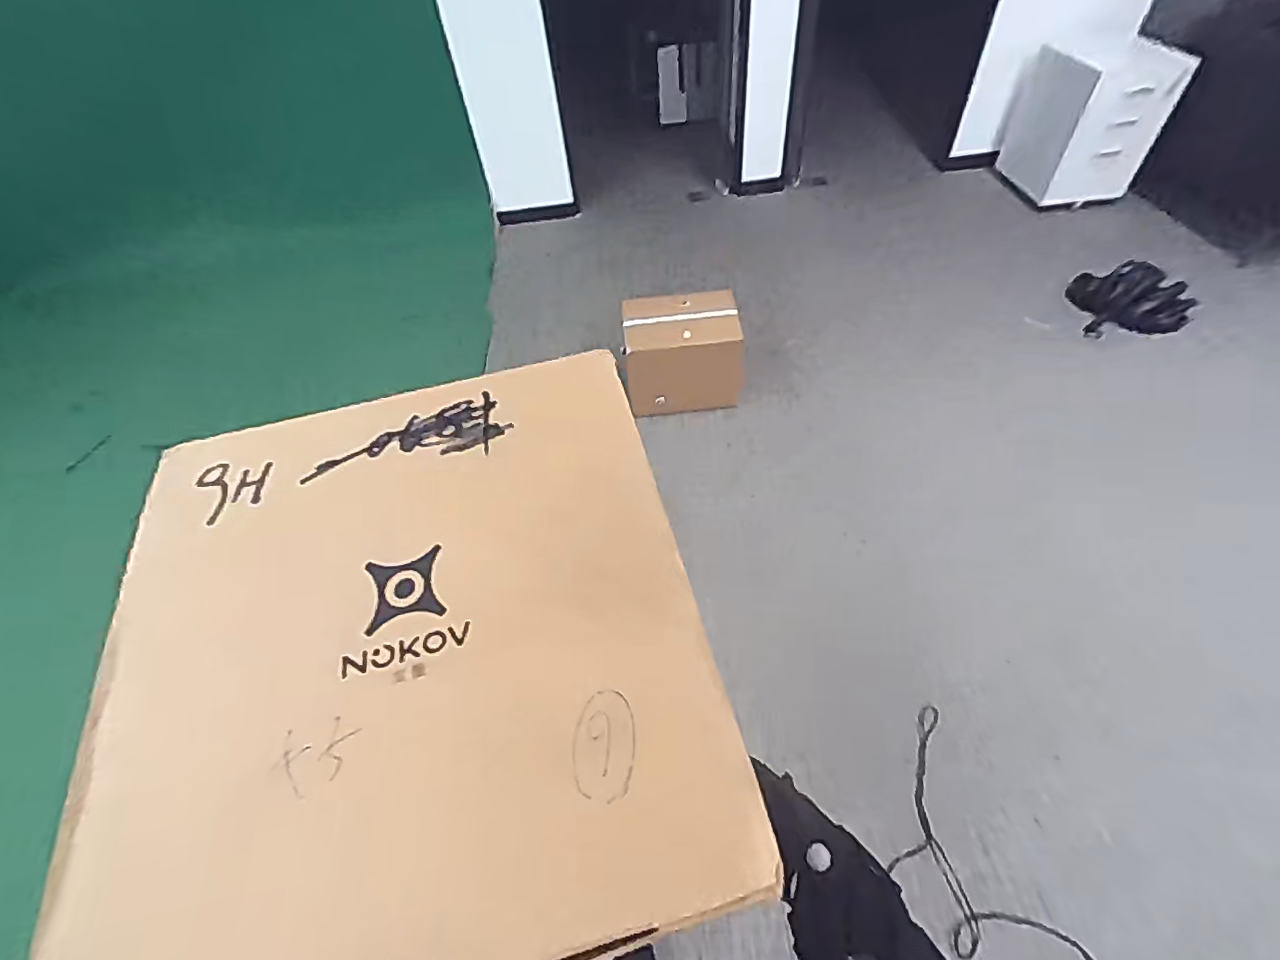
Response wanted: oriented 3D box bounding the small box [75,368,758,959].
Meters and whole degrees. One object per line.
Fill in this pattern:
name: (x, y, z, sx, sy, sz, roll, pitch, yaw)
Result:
small box: (-0.064, 0.086, 0.232, 0.168, 0.176, 0.179, -14, 60, -6)
